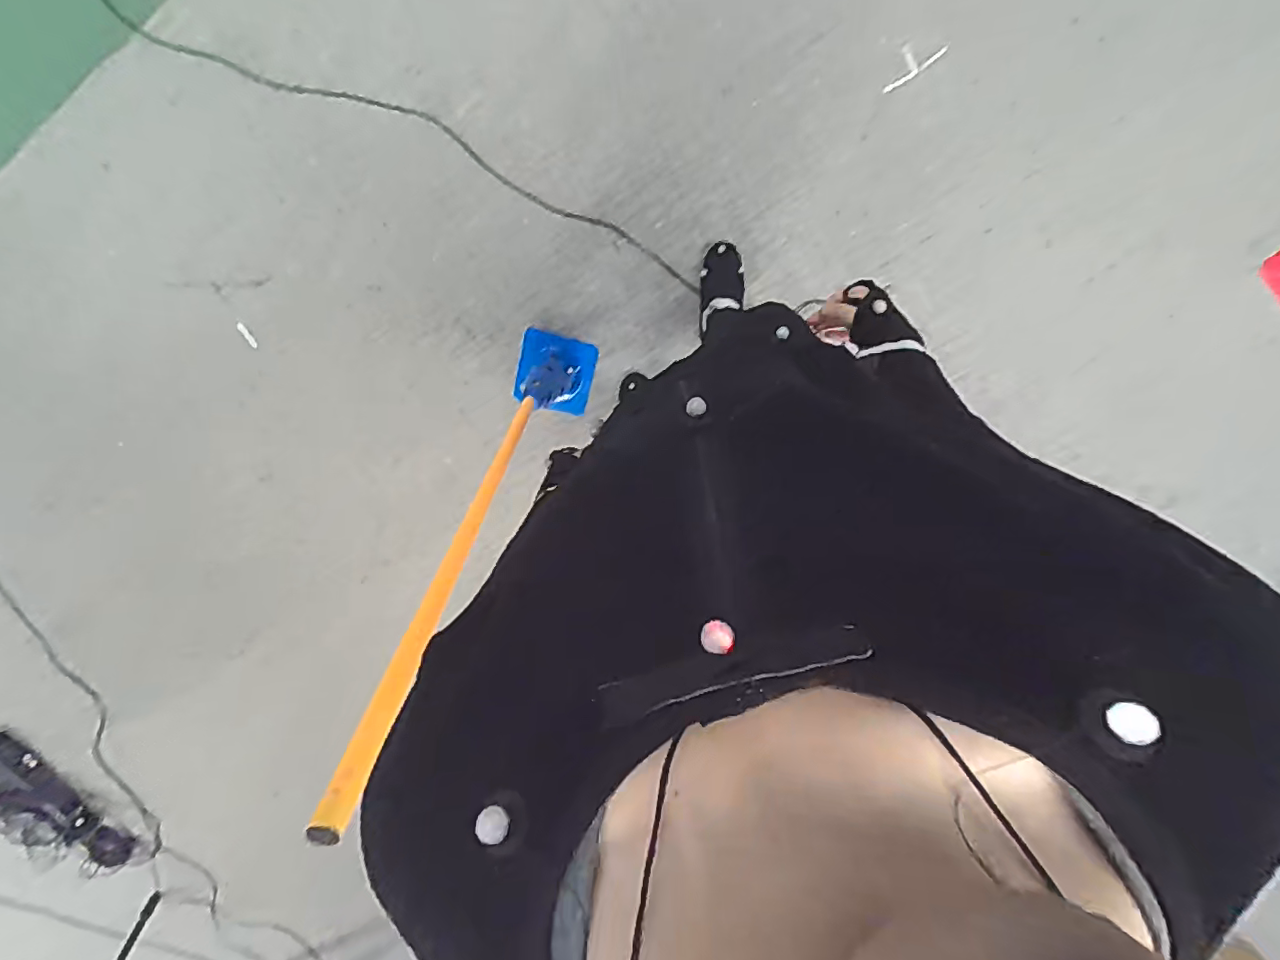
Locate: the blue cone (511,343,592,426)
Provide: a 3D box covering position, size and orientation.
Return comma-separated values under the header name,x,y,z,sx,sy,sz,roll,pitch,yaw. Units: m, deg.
name,x,y,z,sx,sy,sz,roll,pitch,yaw
blue cone,-0.231,-0.193,1.271,0.192,0.380,0.193,13,111,-4
